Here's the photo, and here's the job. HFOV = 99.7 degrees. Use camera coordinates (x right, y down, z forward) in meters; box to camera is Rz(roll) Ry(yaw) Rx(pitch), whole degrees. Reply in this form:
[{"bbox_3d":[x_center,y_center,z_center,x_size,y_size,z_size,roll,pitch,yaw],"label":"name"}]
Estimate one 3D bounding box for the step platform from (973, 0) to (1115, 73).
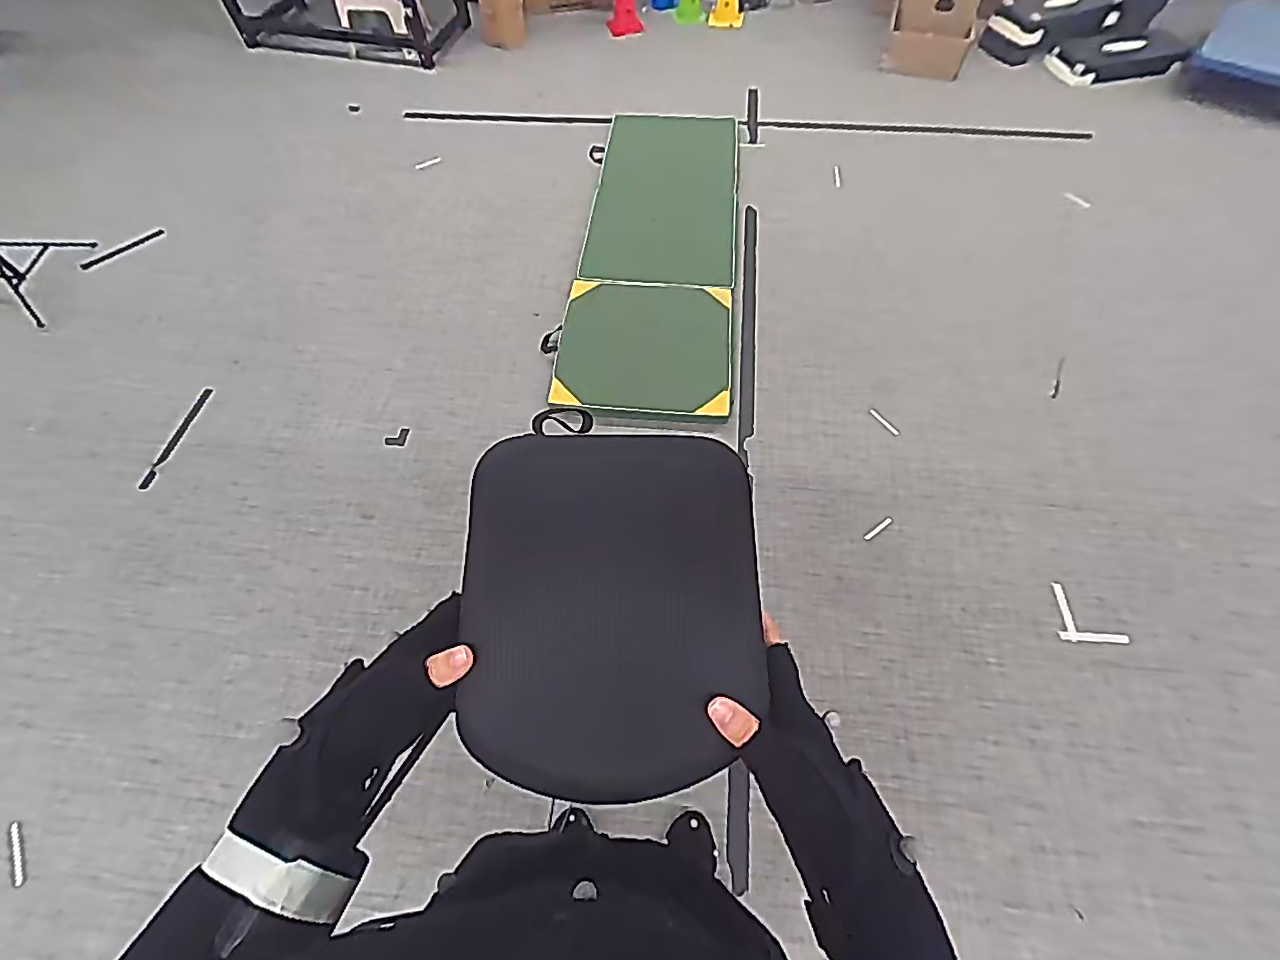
[{"bbox_3d":[2.212,-2.461,2.960,0.684,0.204,0.286,-21,62,-11],"label":"step platform"}]
